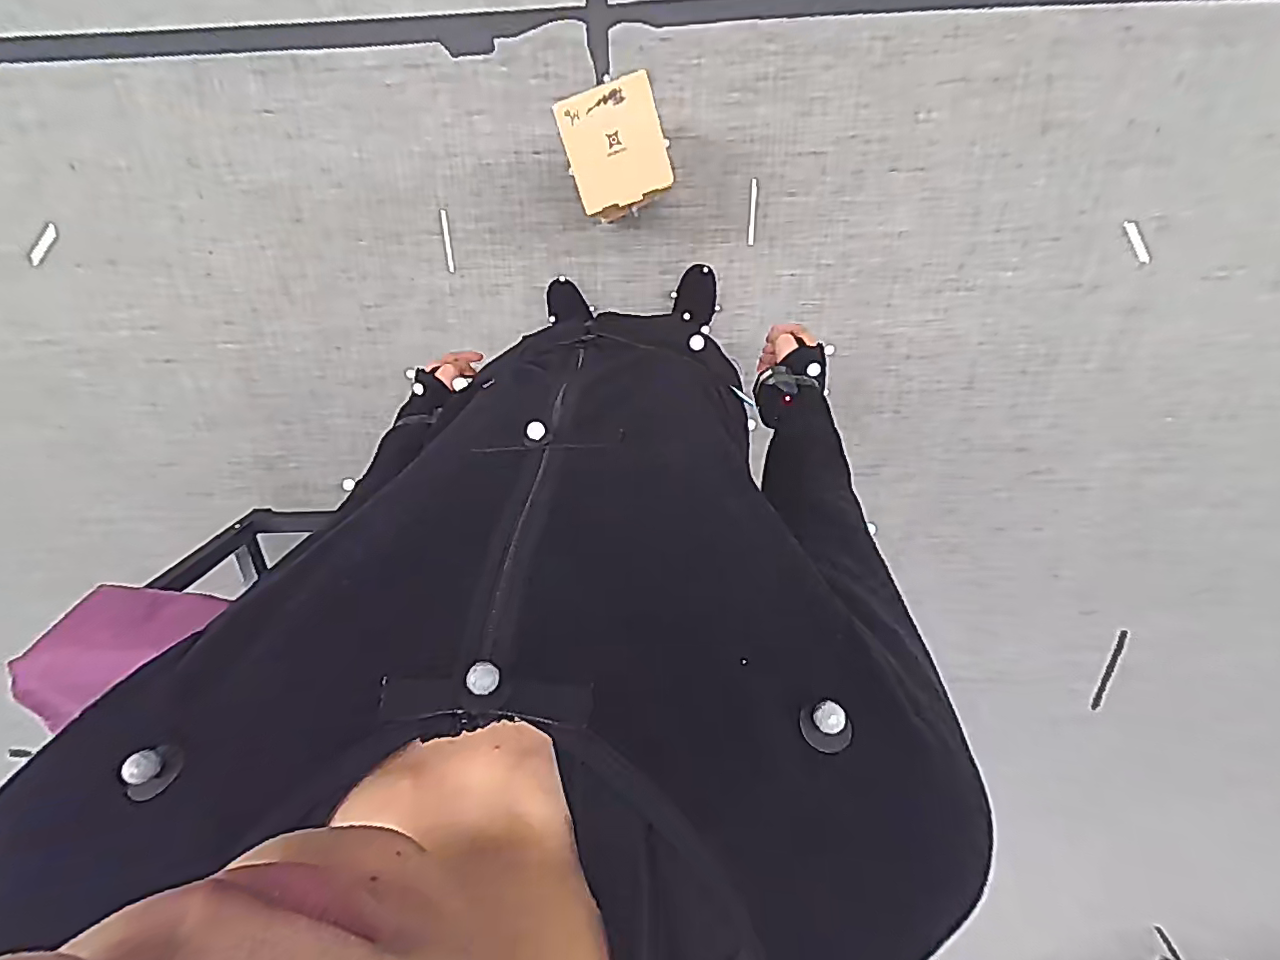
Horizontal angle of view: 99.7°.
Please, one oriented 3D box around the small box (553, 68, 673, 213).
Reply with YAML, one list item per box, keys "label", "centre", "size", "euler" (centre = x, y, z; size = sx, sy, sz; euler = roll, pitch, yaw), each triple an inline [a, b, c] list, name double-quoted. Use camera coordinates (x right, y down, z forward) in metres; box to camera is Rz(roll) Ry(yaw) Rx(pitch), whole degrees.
- label: "small box"
  centre: [-0.041, -0.606, 0.987]
  size: [0.168, 0.176, 0.179]
  euler: [-16, 115, 7]
